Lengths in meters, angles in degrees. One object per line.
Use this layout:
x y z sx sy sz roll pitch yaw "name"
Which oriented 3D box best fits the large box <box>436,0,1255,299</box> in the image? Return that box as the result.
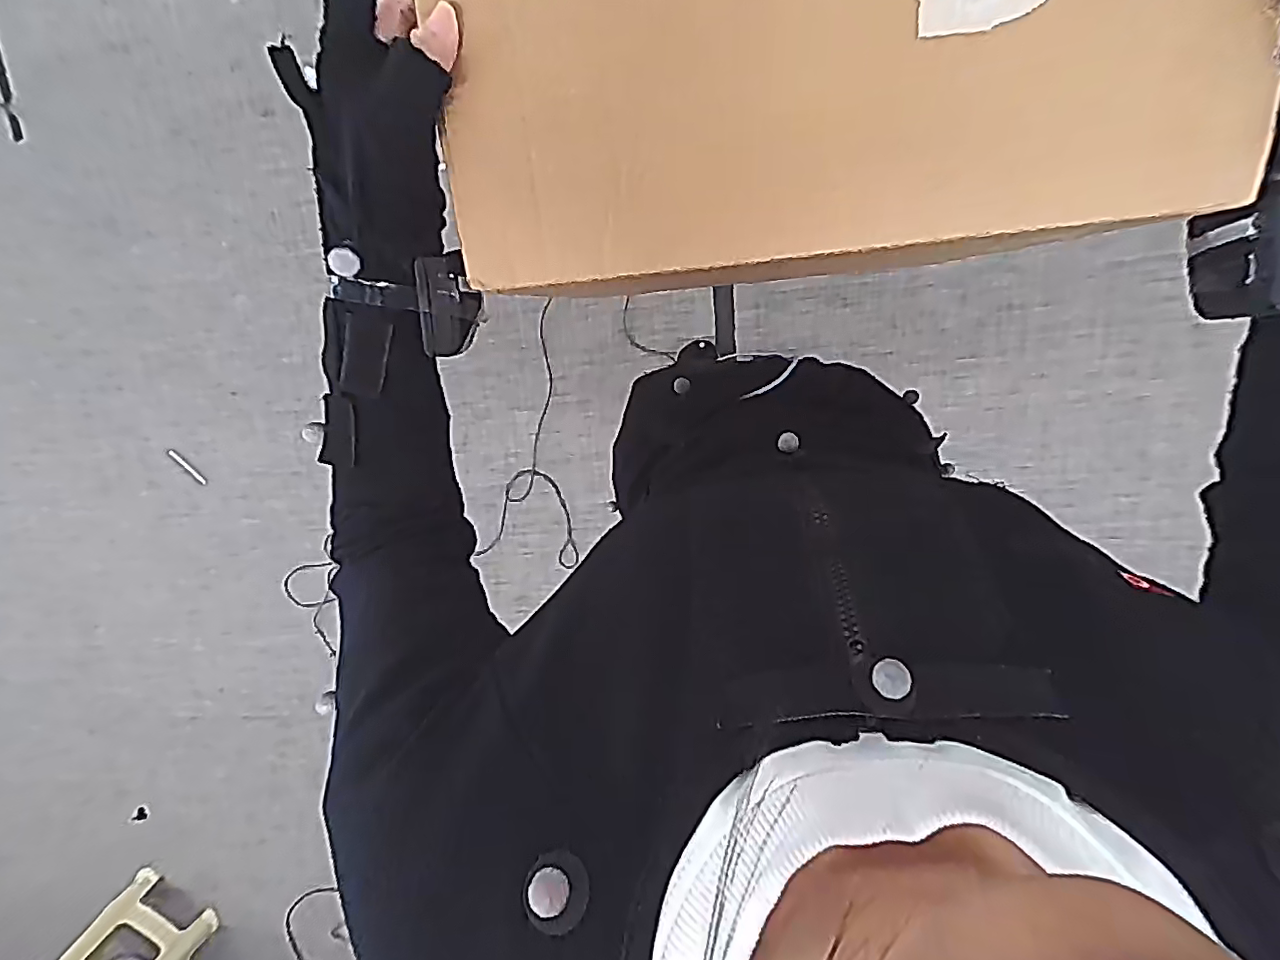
0.097 -0.322 0.401 0.408 0.320 0.320 -5 108 6 "large box"
